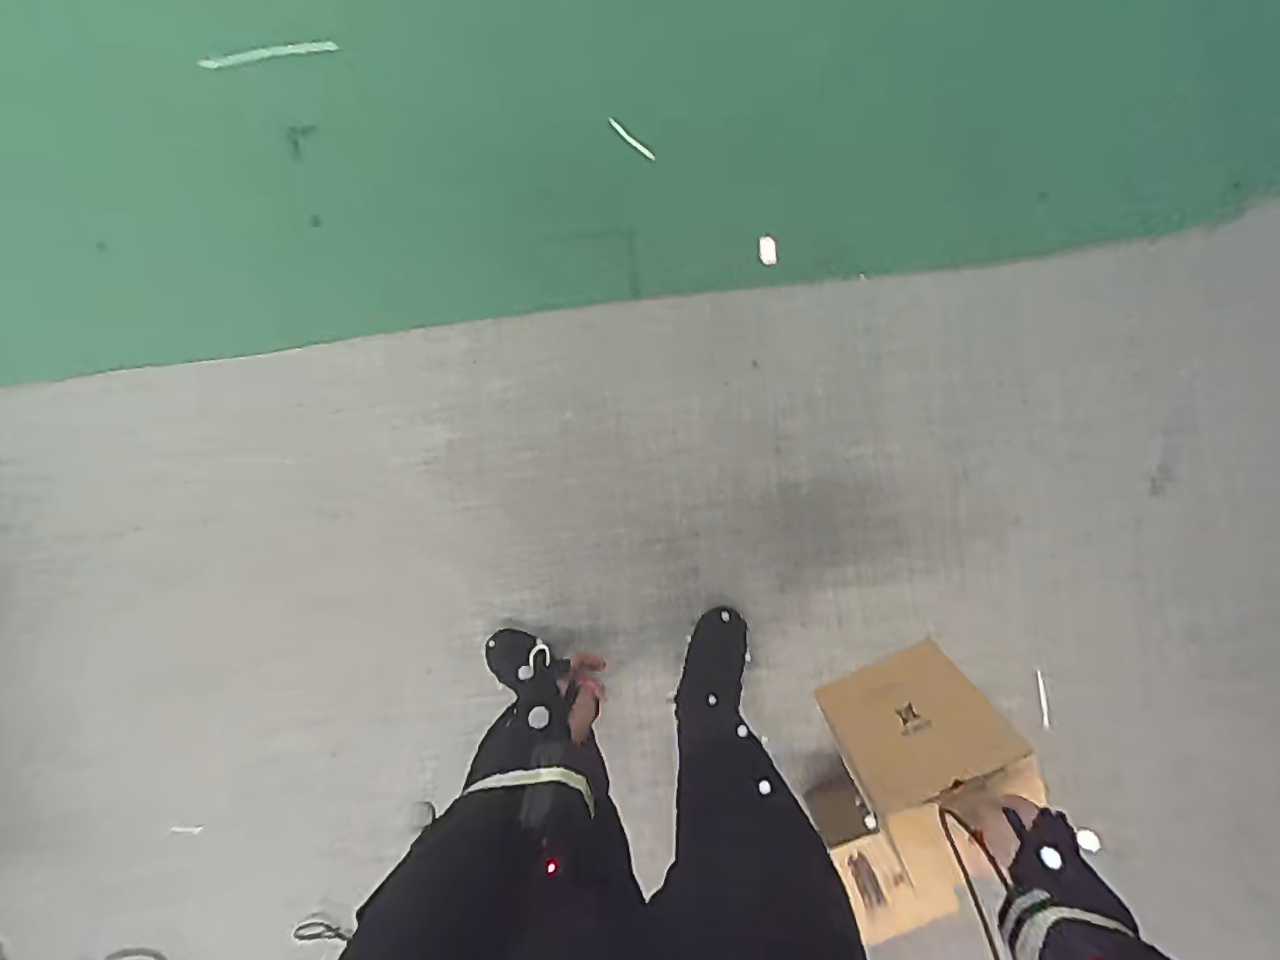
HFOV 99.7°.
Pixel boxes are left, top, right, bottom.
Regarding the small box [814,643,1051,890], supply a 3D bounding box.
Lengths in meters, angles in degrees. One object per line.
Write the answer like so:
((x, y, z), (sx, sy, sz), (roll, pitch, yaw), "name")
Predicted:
((0.337, 0.336, 0.635), (0.168, 0.179, 0.176), (-26, 113, 4), "small box")
